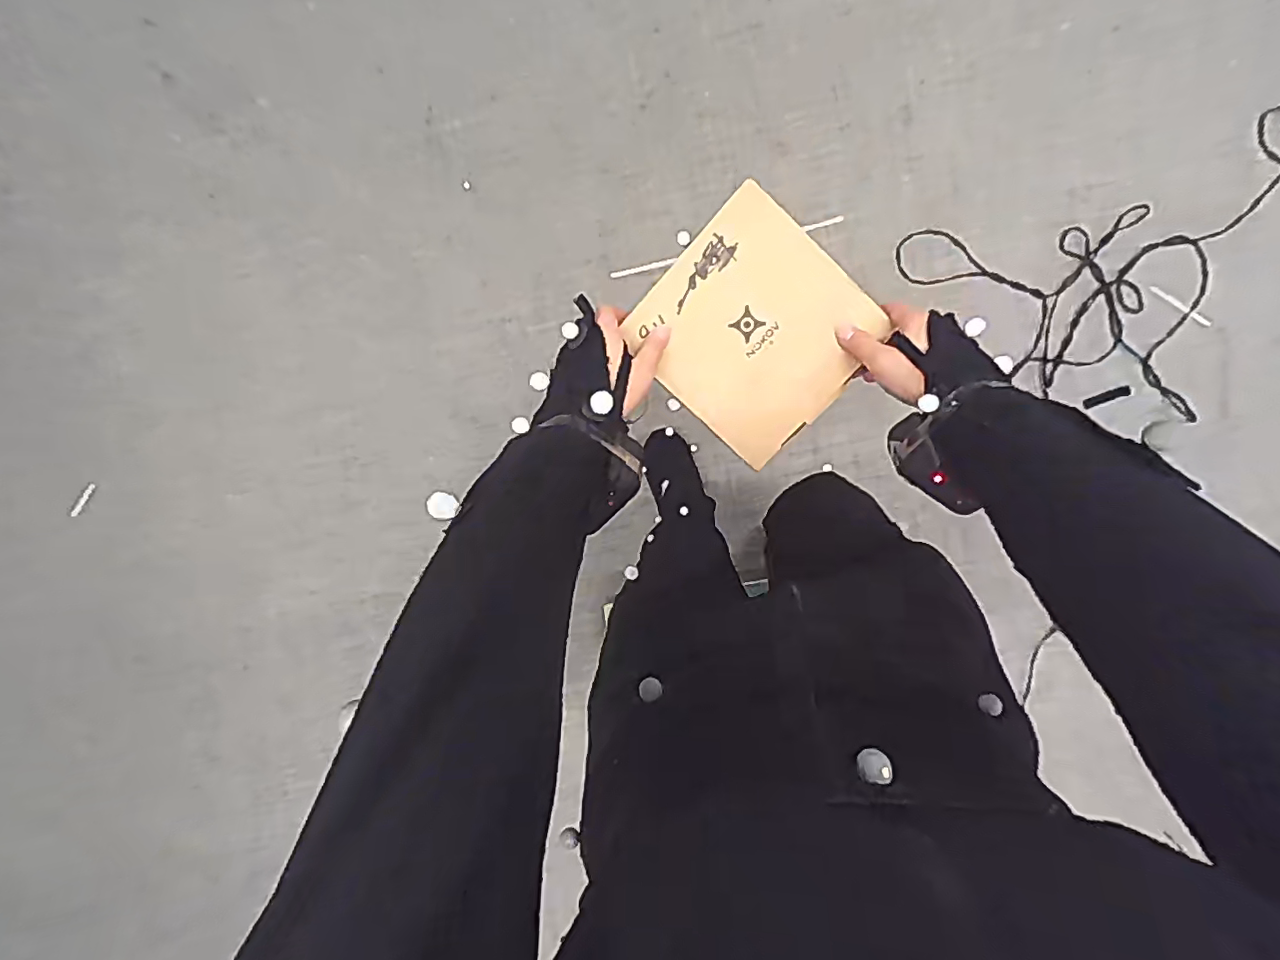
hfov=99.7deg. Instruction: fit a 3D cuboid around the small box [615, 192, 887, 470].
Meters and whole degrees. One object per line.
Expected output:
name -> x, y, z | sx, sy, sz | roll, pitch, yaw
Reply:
small box -> 0.098, -0.139, 0.539 | 0.179, 0.176, 0.168 | 43, 100, -6
